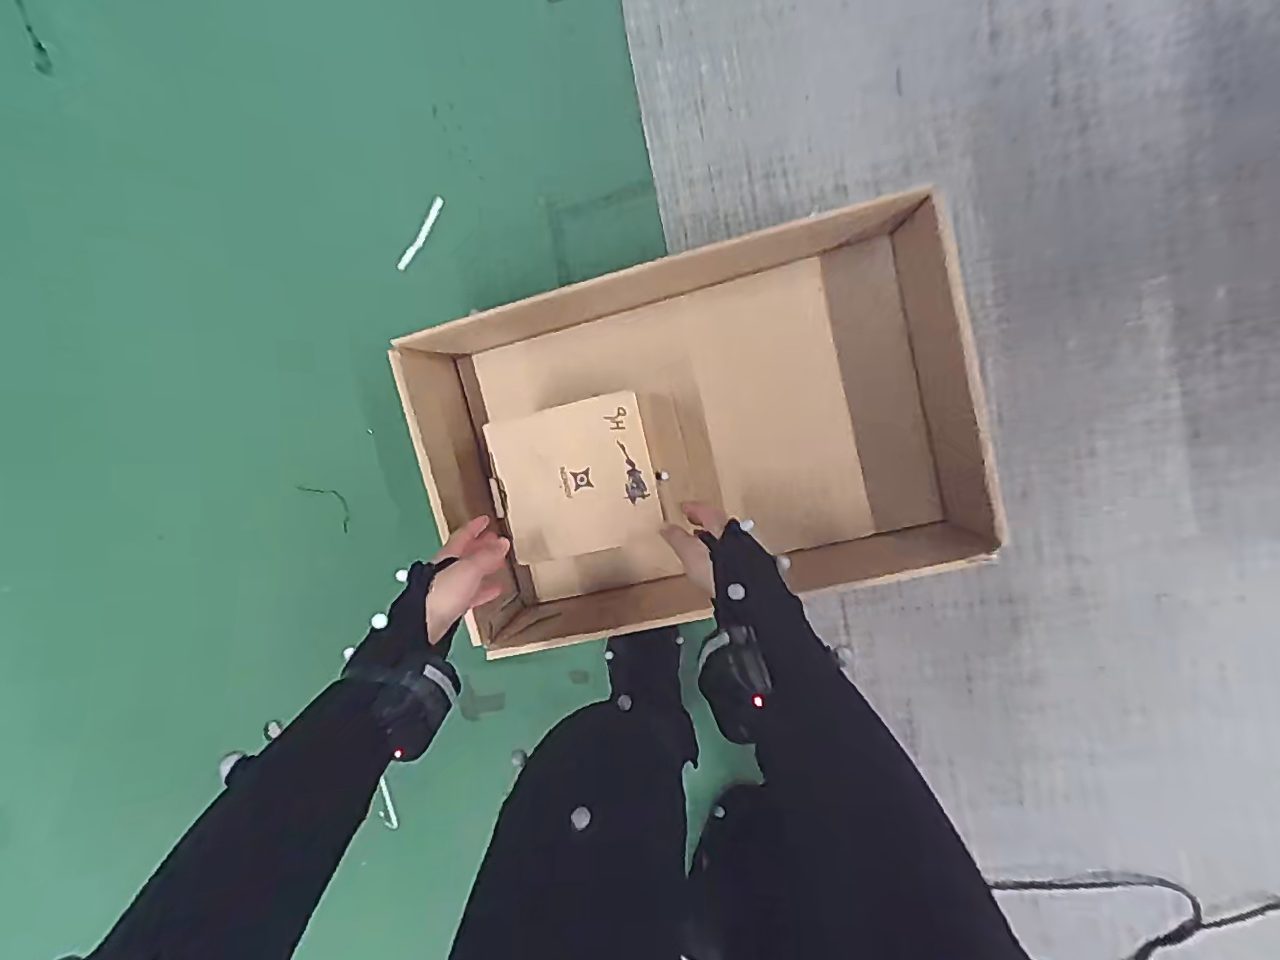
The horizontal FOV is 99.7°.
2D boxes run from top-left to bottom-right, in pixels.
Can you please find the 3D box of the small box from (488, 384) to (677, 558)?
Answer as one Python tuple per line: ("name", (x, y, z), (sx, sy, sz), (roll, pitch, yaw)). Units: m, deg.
("small box", (-0.058, -0.015, 0.671), (0.179, 0.176, 0.168), (-12, 95, 8))
